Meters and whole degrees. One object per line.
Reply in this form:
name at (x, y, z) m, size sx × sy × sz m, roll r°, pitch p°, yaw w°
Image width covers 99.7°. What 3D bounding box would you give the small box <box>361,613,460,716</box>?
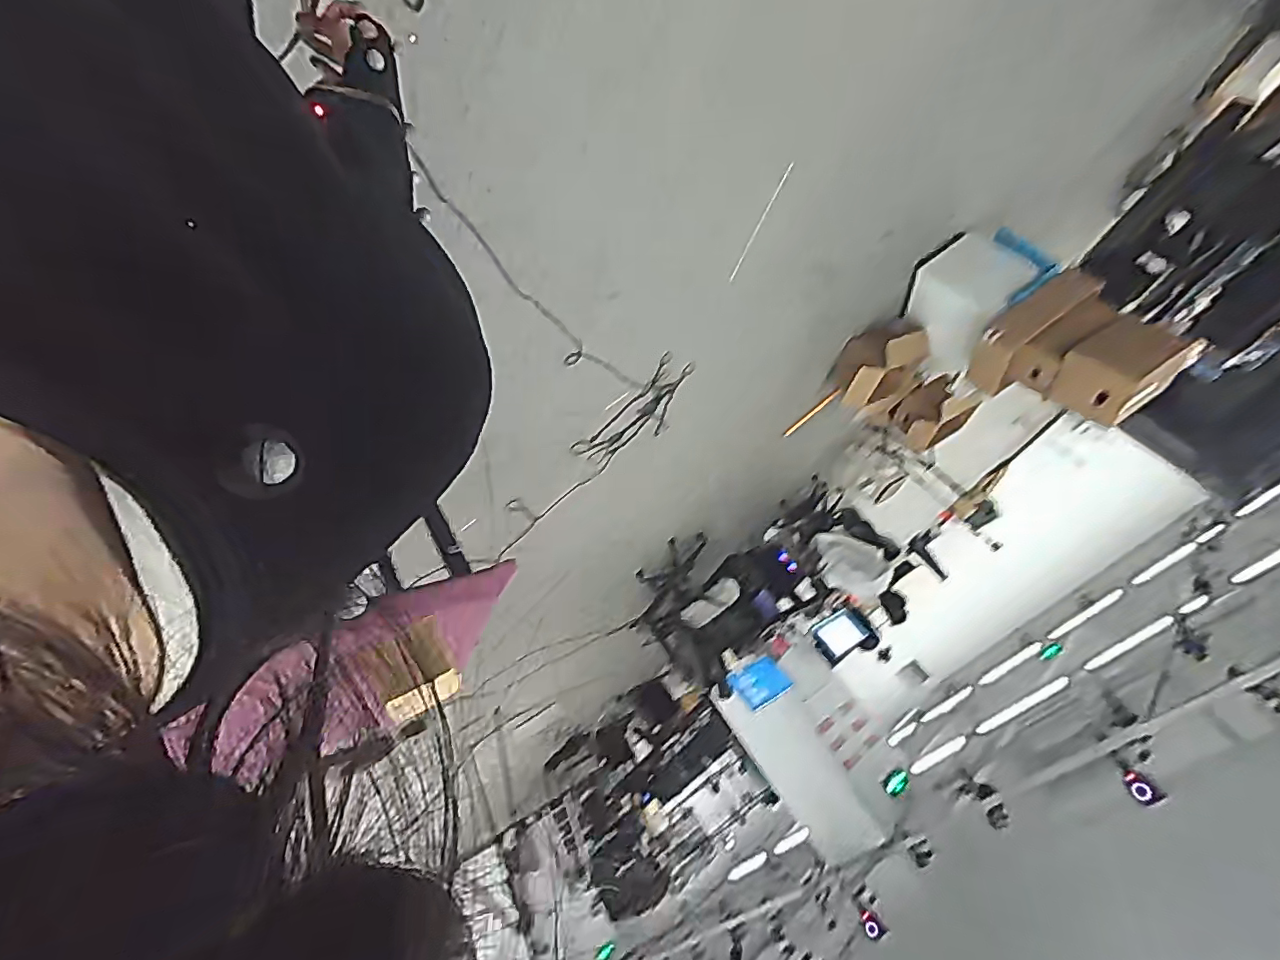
small box at (-0.596, 0.476, 1.410) m, size 0.179 × 0.176 × 0.168 m, roll -25°, pitch 150°, yaw -23°
